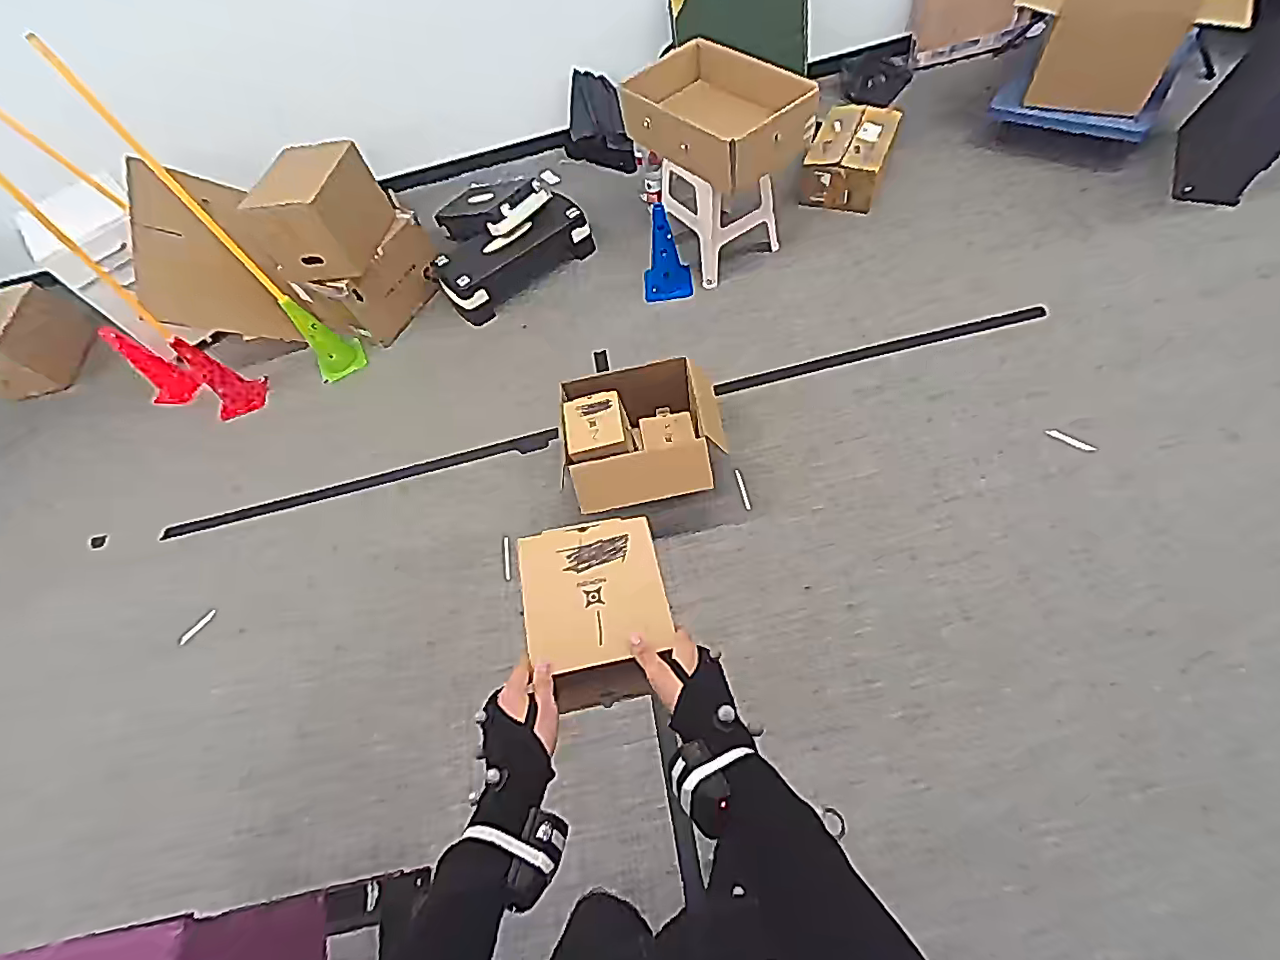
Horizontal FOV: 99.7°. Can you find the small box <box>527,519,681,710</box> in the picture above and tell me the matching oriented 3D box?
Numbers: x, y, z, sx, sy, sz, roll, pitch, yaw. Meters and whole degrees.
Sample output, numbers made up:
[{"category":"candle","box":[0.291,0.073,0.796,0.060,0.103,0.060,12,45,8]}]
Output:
[{"category":"small box","box":[-0.050,0.177,0.705,0.168,0.176,0.179,-9,55,-7]}]
